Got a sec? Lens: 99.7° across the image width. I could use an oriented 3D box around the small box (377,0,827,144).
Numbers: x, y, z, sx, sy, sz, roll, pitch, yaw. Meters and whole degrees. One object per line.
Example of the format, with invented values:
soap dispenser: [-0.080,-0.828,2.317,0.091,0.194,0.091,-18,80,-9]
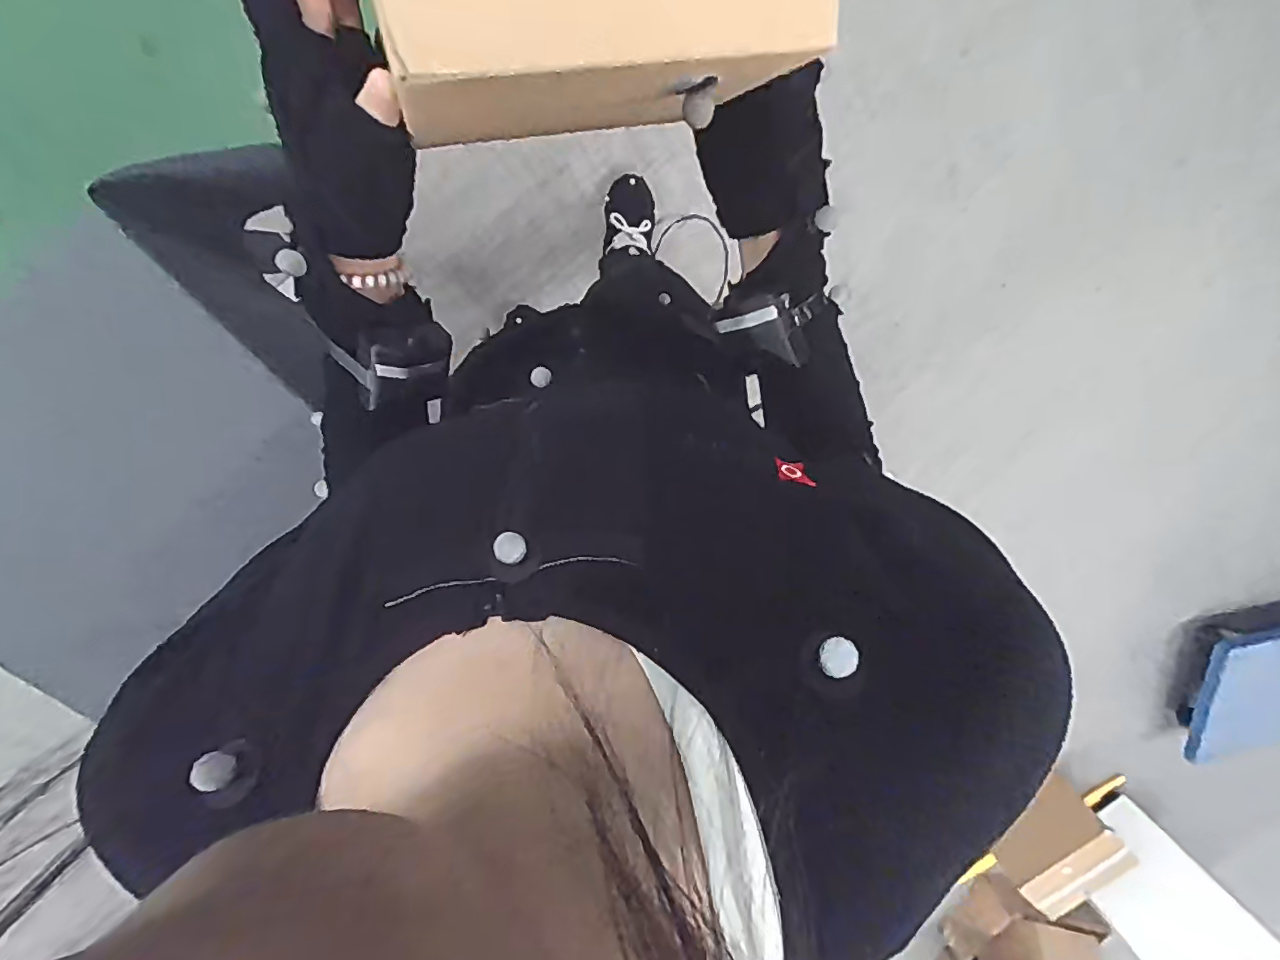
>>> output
small box: [-0.037,-0.264,0.244,0.179,0.176,0.168,-15,117,-13]
